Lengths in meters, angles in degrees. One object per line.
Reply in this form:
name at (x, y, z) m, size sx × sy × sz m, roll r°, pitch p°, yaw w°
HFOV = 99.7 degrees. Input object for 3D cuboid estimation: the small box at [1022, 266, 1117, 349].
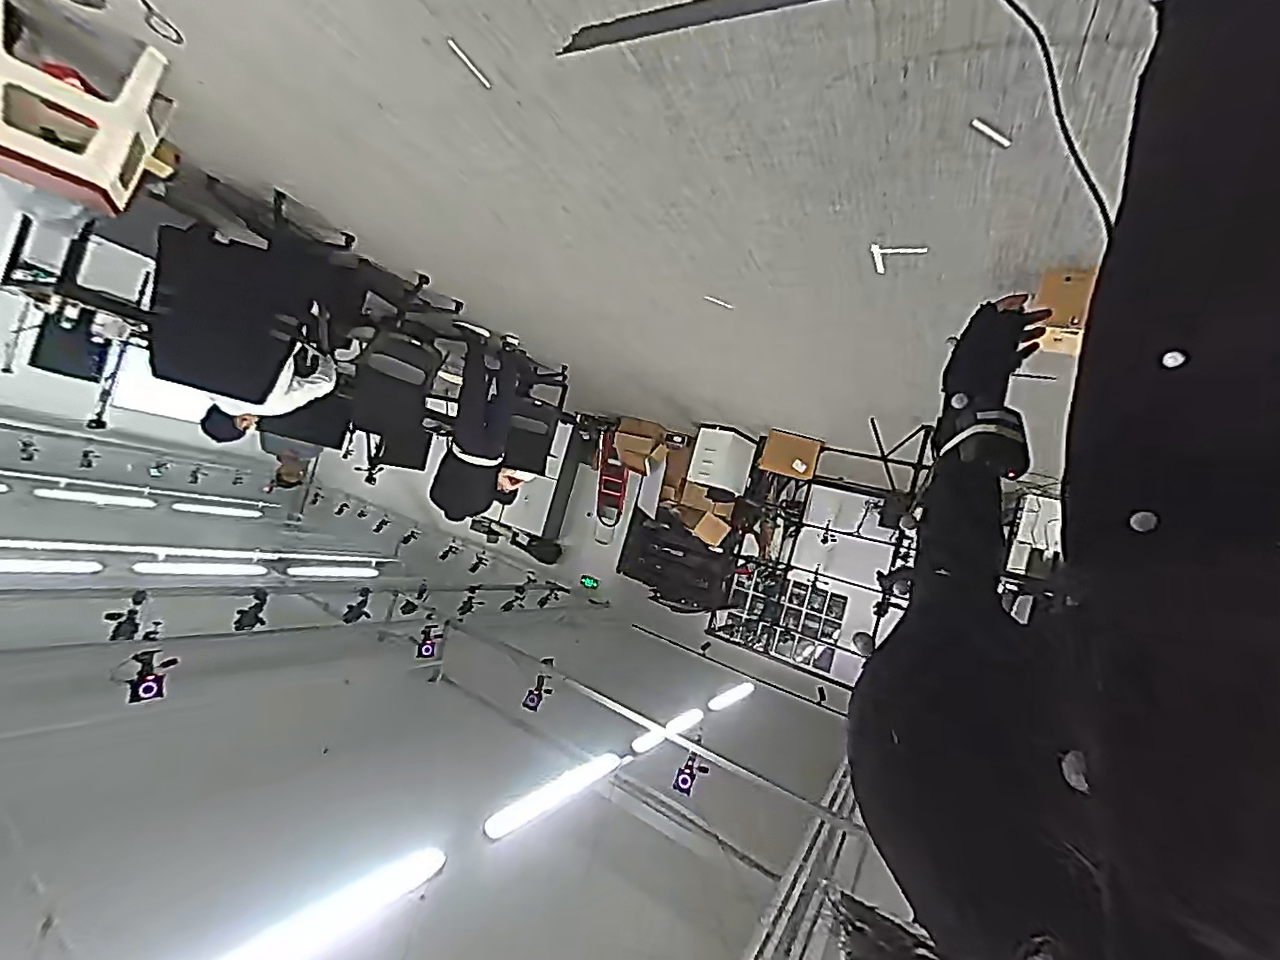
small box at (1.242, -0.498, 1.569) m, size 0.168 × 0.176 × 0.179 m, roll 15°, pitch 178°, yaw 26°
